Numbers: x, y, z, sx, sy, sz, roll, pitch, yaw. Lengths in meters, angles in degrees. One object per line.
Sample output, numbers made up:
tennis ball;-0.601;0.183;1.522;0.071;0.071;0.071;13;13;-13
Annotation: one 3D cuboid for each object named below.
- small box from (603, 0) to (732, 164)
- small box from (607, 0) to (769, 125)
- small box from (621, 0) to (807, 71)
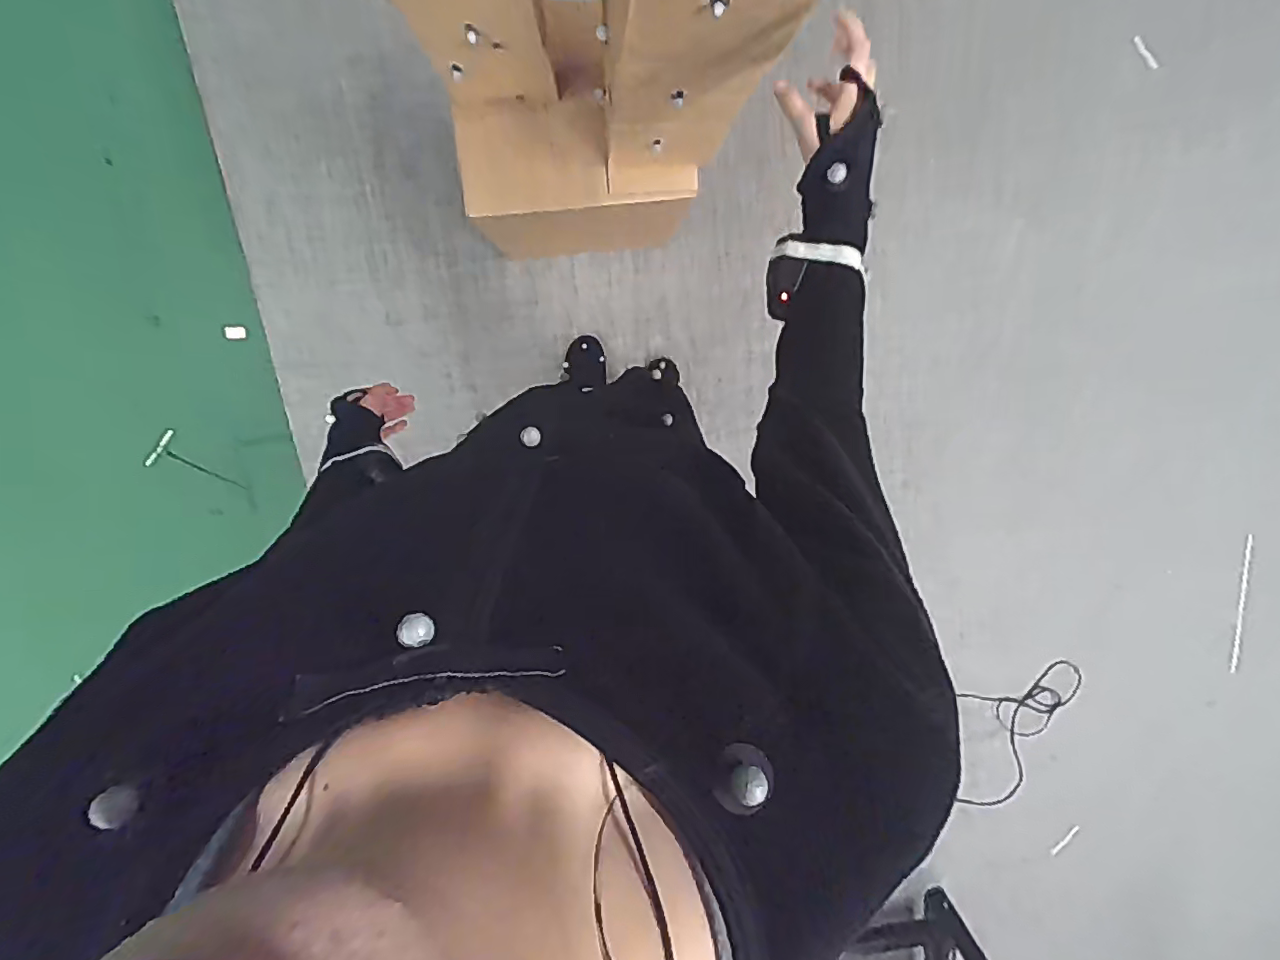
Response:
small box;0.038;-0.598;0.825;0.179;0.176;0.168;-4;106;-2
small box;0.052;-0.561;0.666;0.179;0.176;0.168;-3;104;-3
small box;0.072;-0.521;0.509;0.179;0.176;0.168;0;104;-5
